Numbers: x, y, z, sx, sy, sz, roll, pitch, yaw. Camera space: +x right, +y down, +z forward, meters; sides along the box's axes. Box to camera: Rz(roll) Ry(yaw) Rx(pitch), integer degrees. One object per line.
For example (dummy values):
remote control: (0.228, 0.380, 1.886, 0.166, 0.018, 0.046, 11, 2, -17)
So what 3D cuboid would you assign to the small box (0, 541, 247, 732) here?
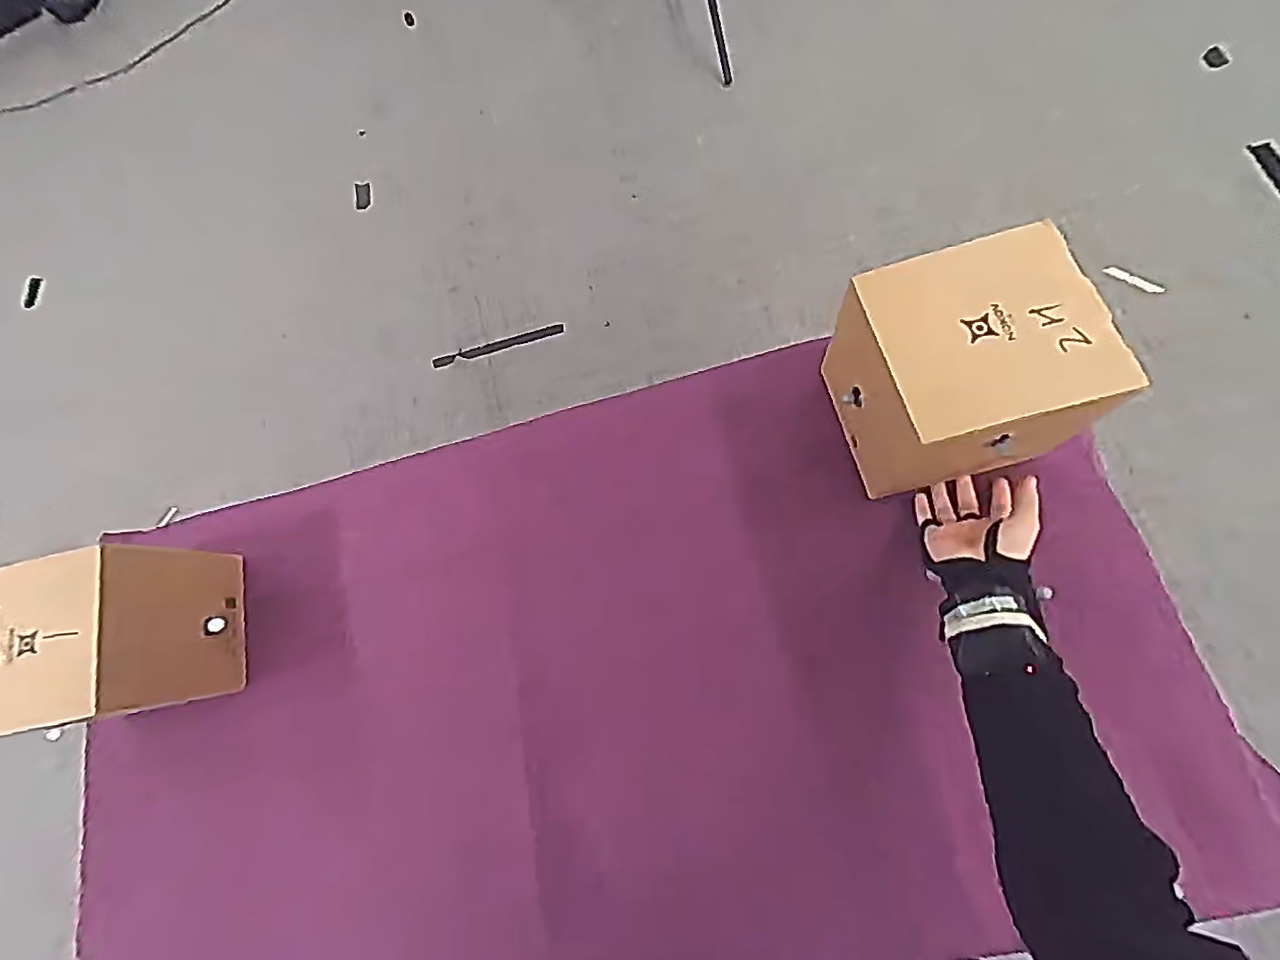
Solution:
small box: (-0.584, 0.172, 0.601, 0.179, 0.176, 0.168, -13, 77, 5)

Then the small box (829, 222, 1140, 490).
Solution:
small box: (0.294, -0.102, 0.518, 0.179, 0.176, 0.168, -15, 72, 4)
